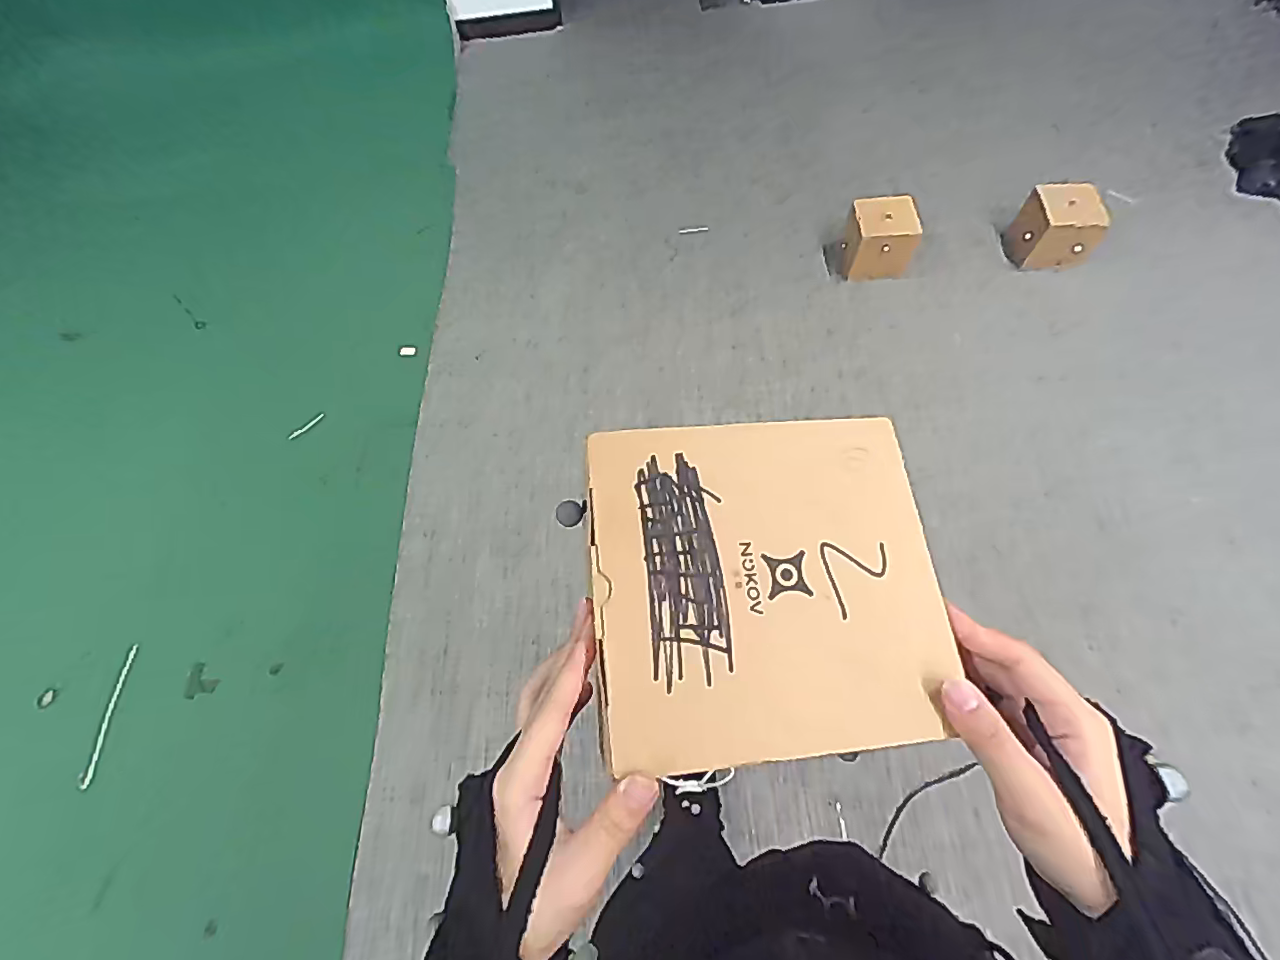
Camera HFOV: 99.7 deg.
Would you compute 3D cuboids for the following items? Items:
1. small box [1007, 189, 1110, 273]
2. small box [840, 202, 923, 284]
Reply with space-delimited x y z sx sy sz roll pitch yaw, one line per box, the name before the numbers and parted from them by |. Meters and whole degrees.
small box | 1.262 -0.751 1.645 0.168 0.176 0.179 1 63 4
small box | 0.740 -0.730 1.676 0.179 0.176 0.168 -3 64 4
